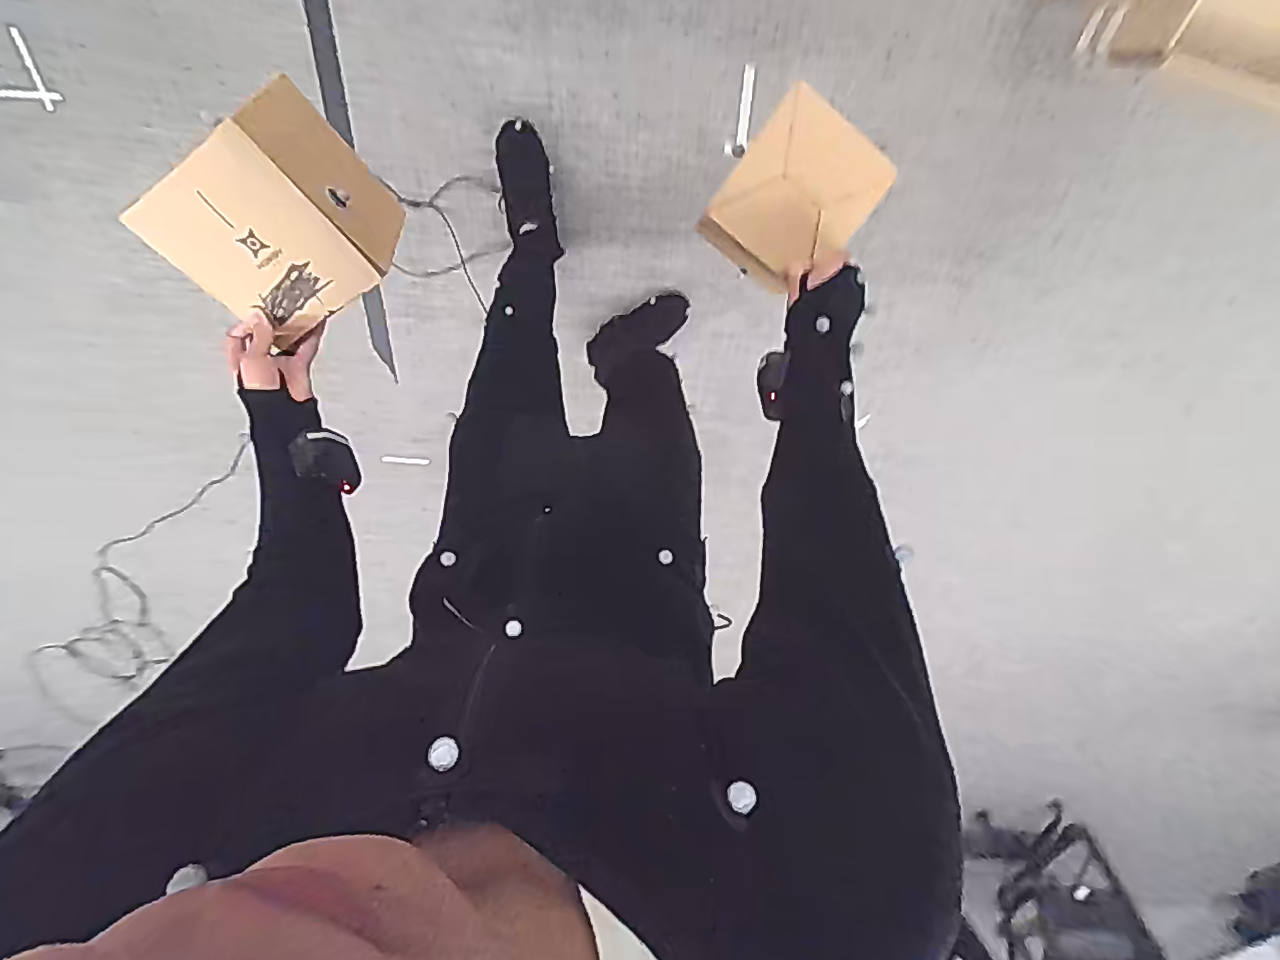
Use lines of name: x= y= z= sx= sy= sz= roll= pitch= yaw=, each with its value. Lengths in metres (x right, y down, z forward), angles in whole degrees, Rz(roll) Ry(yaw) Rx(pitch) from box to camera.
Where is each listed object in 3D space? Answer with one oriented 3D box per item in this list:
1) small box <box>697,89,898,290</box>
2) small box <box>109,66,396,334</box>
small box: x=0.197 y=-0.371 z=0.713 sx=0.168 sy=0.176 sz=0.179 roll=36 pitch=105 yaw=-10
small box: x=-0.401 y=-0.305 z=0.598 sx=0.168 sy=0.176 sz=0.179 roll=-26 pitch=136 yaw=16
